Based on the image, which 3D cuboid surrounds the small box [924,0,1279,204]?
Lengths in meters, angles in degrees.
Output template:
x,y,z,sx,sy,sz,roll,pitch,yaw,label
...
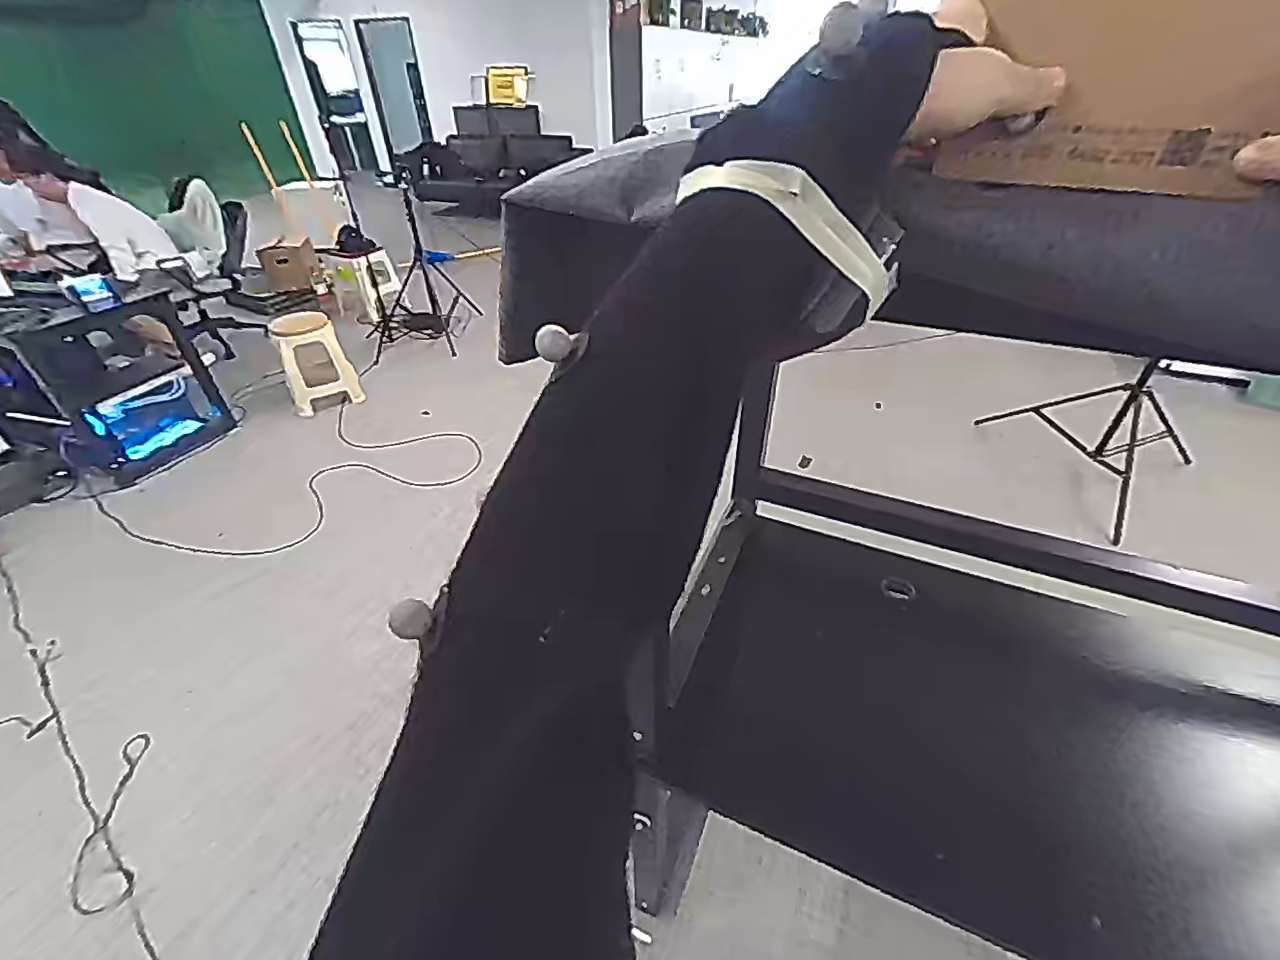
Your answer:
x,y,z,sx,sy,sz,roll,pitch,yaw,label
0.261,-0.251,0.279,0.168,0.176,0.179,14,39,17,small box
